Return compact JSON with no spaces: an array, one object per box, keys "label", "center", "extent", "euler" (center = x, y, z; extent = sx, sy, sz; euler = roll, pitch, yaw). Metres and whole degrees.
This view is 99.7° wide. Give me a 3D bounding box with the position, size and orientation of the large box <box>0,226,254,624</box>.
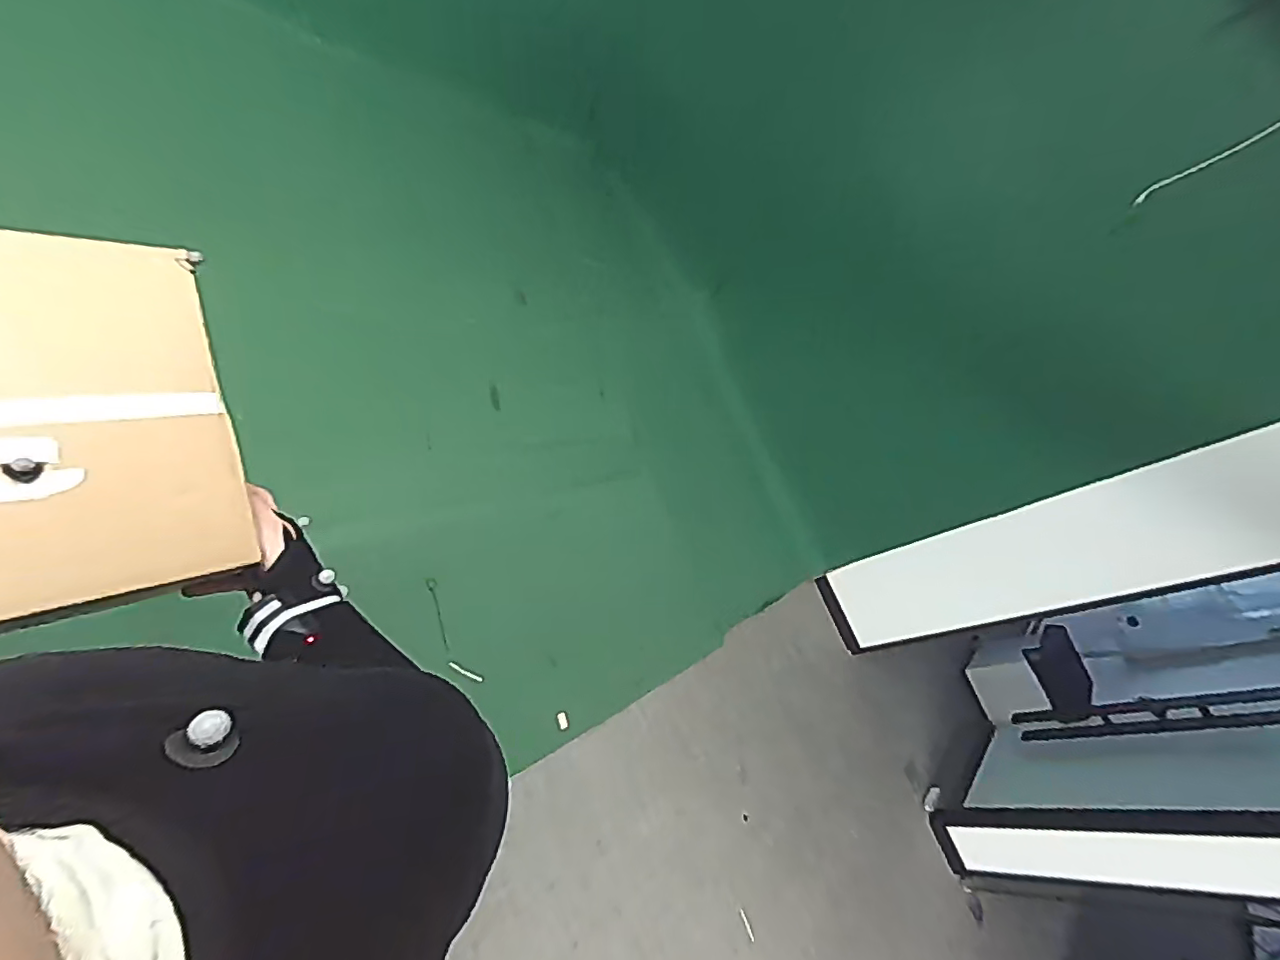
[{"label":"large box","center":[-0.650,-0.017,0.485],"extent":[0.408,0.320,0.320],"euler":[-14,89,-47]}]
